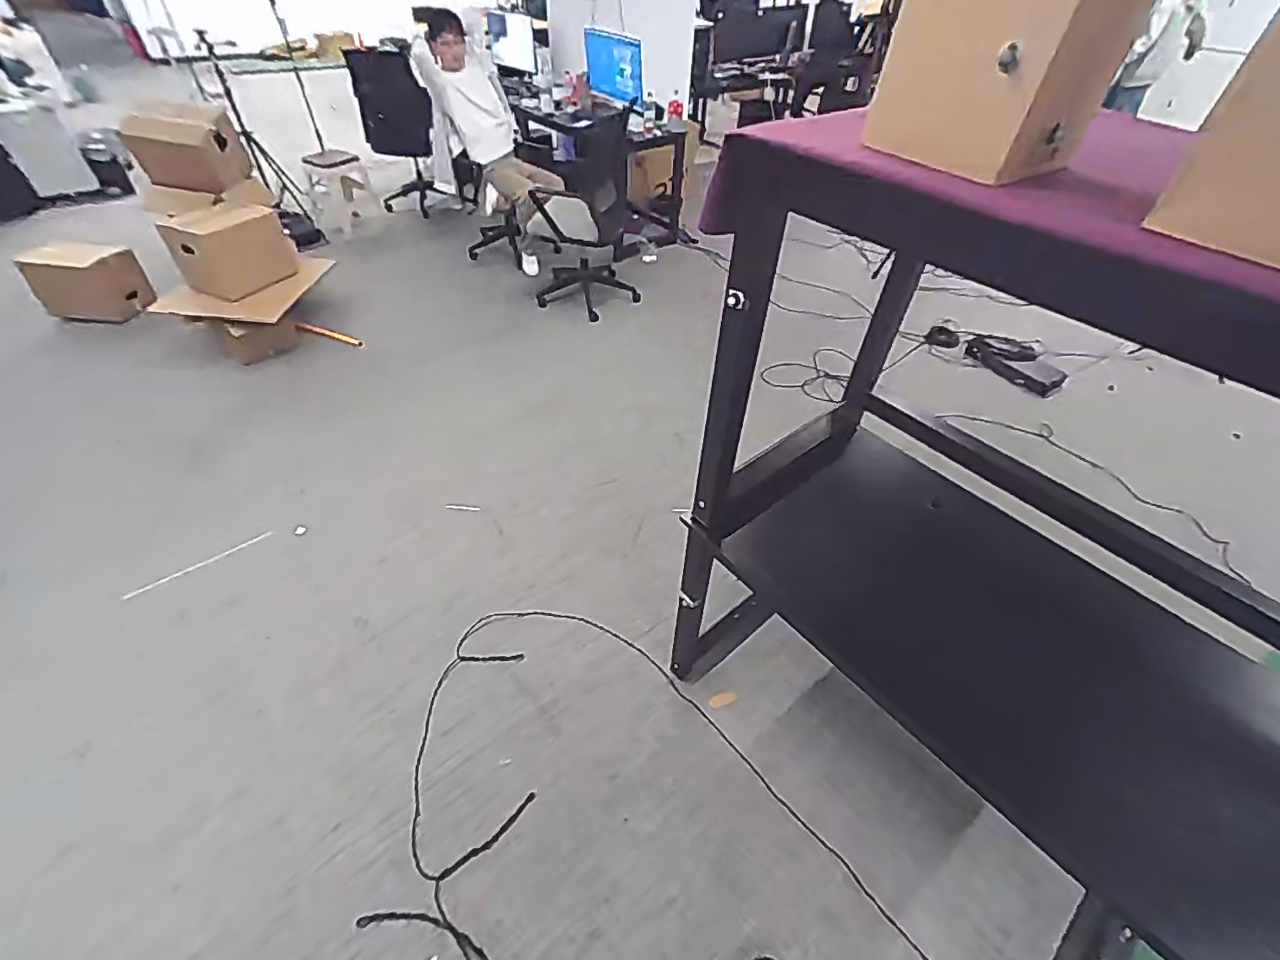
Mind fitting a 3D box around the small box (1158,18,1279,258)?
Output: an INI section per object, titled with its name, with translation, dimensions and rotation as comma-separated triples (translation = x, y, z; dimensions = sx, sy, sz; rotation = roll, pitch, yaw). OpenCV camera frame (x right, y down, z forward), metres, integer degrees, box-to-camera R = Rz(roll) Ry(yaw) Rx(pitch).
[small box]
translation = 0.569, -0.269, 0.414
dimensions = 0.168, 0.176, 0.179
rotation = -26, 50, -26
